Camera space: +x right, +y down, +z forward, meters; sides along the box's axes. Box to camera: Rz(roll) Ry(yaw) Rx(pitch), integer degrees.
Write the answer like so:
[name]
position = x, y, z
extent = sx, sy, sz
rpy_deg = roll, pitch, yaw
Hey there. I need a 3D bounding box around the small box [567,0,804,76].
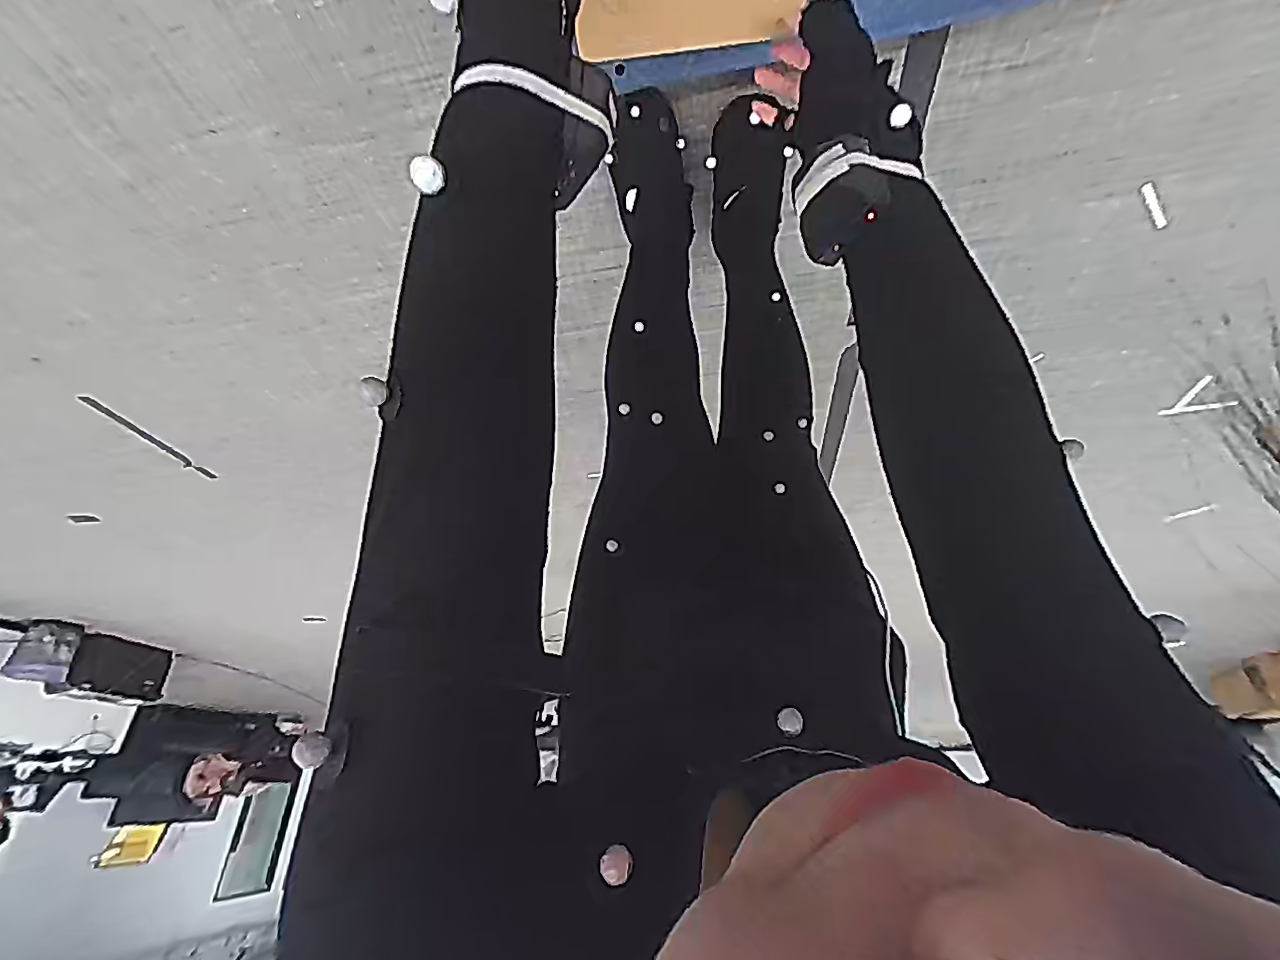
[small box]
position = 0.029, -0.440, 0.400
extent = 0.179, 0.176, 0.168
rpy_deg = -3, 149, 5
